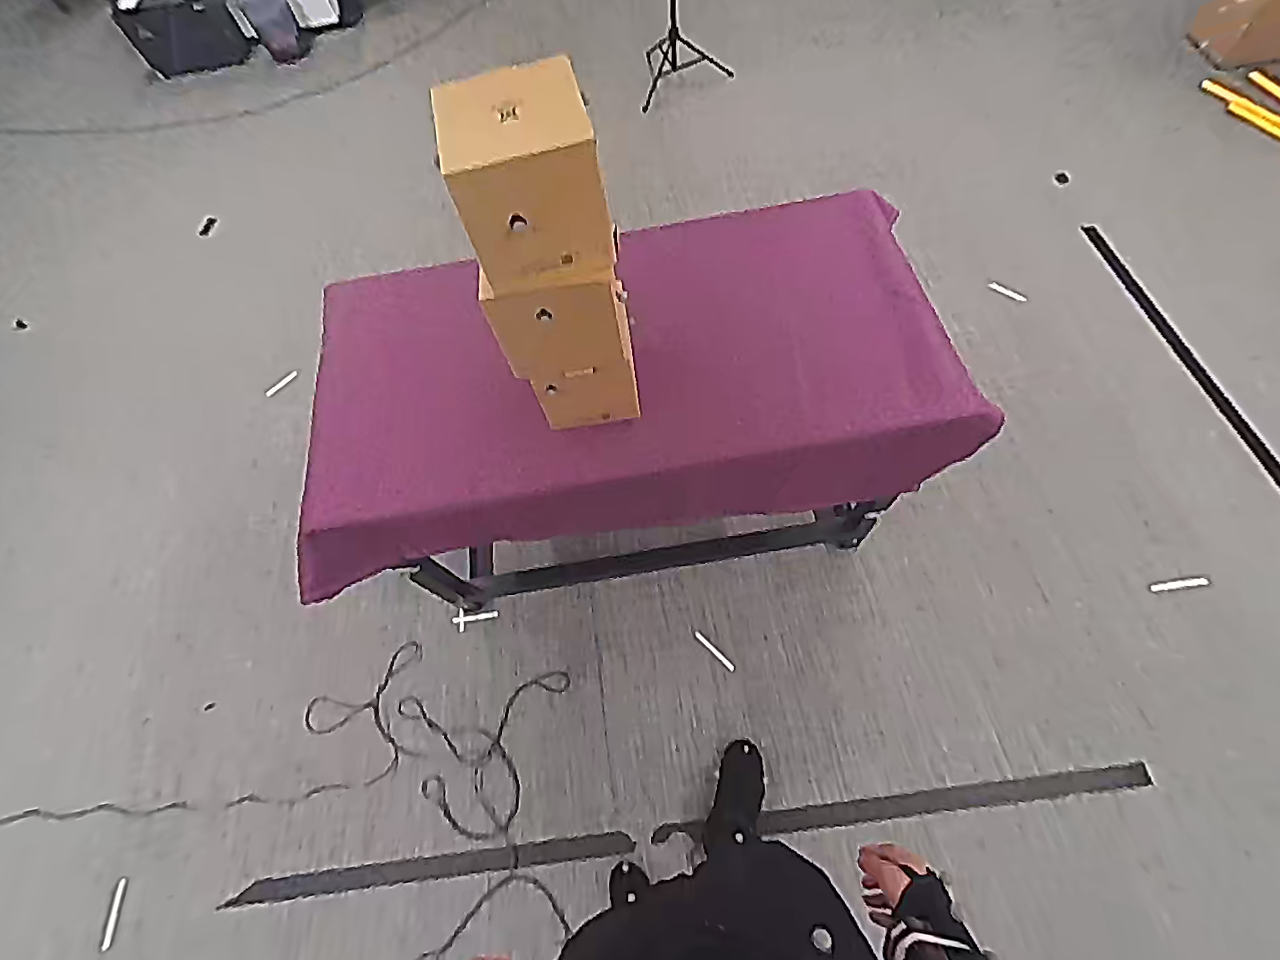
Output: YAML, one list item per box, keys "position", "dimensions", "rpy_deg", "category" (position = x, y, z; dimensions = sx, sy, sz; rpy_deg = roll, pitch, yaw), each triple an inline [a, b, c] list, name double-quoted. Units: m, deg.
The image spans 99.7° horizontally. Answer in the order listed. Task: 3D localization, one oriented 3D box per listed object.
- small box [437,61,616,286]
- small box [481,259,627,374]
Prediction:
- position: [-0.133, -0.364, 0.669]
  dimensions: [0.168, 0.176, 0.179]
  rpy_deg: [-15, 62, -1]
  category: "small box"
- position: [-0.121, -0.276, 0.806]
  dimensions: [0.179, 0.176, 0.168]
  rpy_deg: [-7, 63, 2]
  category: "small box"
